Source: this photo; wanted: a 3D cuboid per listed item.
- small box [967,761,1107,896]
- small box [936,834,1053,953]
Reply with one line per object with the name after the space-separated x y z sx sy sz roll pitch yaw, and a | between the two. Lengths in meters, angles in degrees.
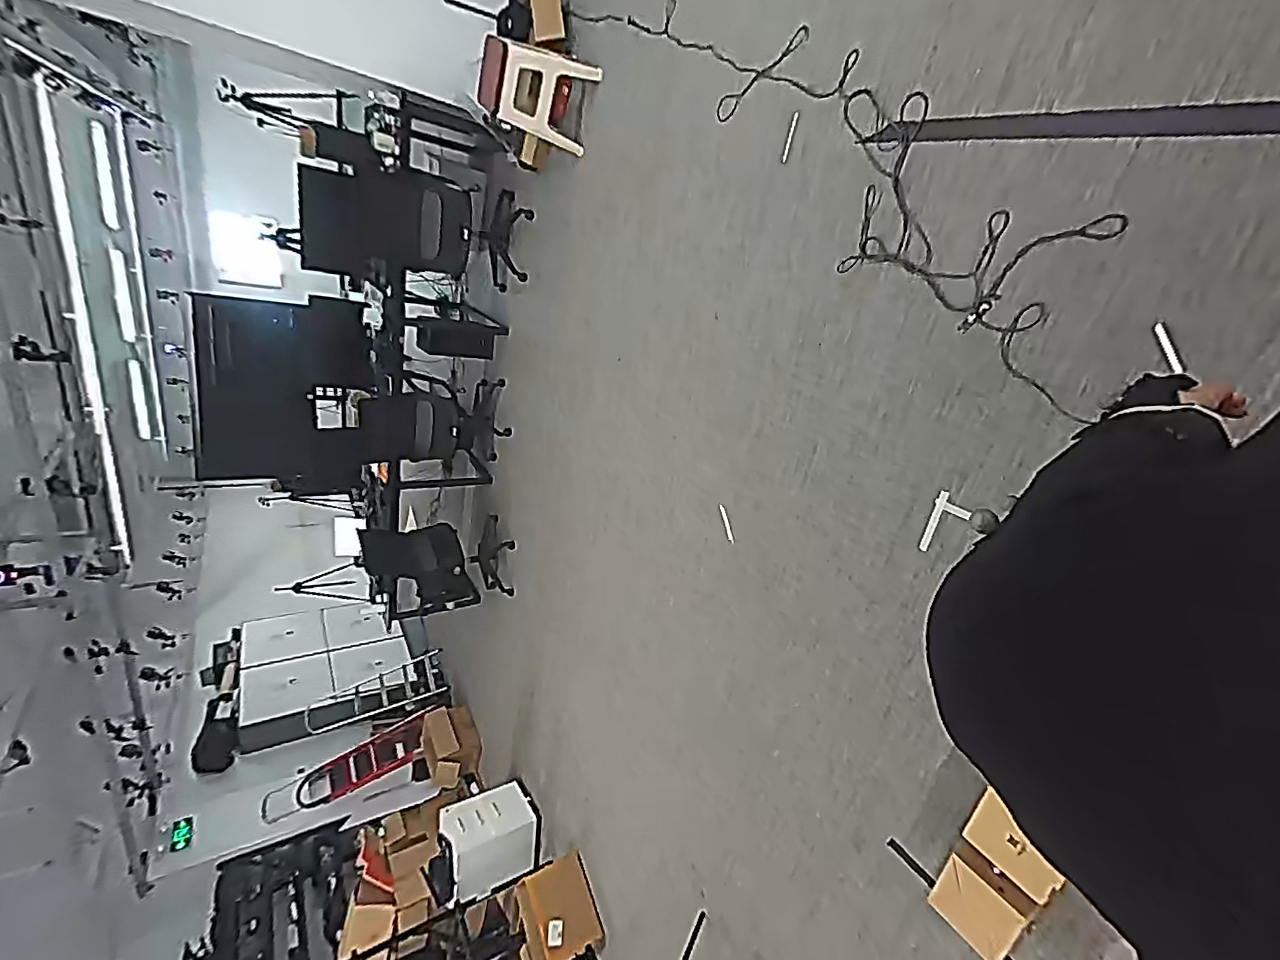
0.890 0.767 1.217 0.179 0.176 0.168 36 123 47 | small box
0.848 0.973 1.295 0.168 0.176 0.179 35 122 48 | small box
